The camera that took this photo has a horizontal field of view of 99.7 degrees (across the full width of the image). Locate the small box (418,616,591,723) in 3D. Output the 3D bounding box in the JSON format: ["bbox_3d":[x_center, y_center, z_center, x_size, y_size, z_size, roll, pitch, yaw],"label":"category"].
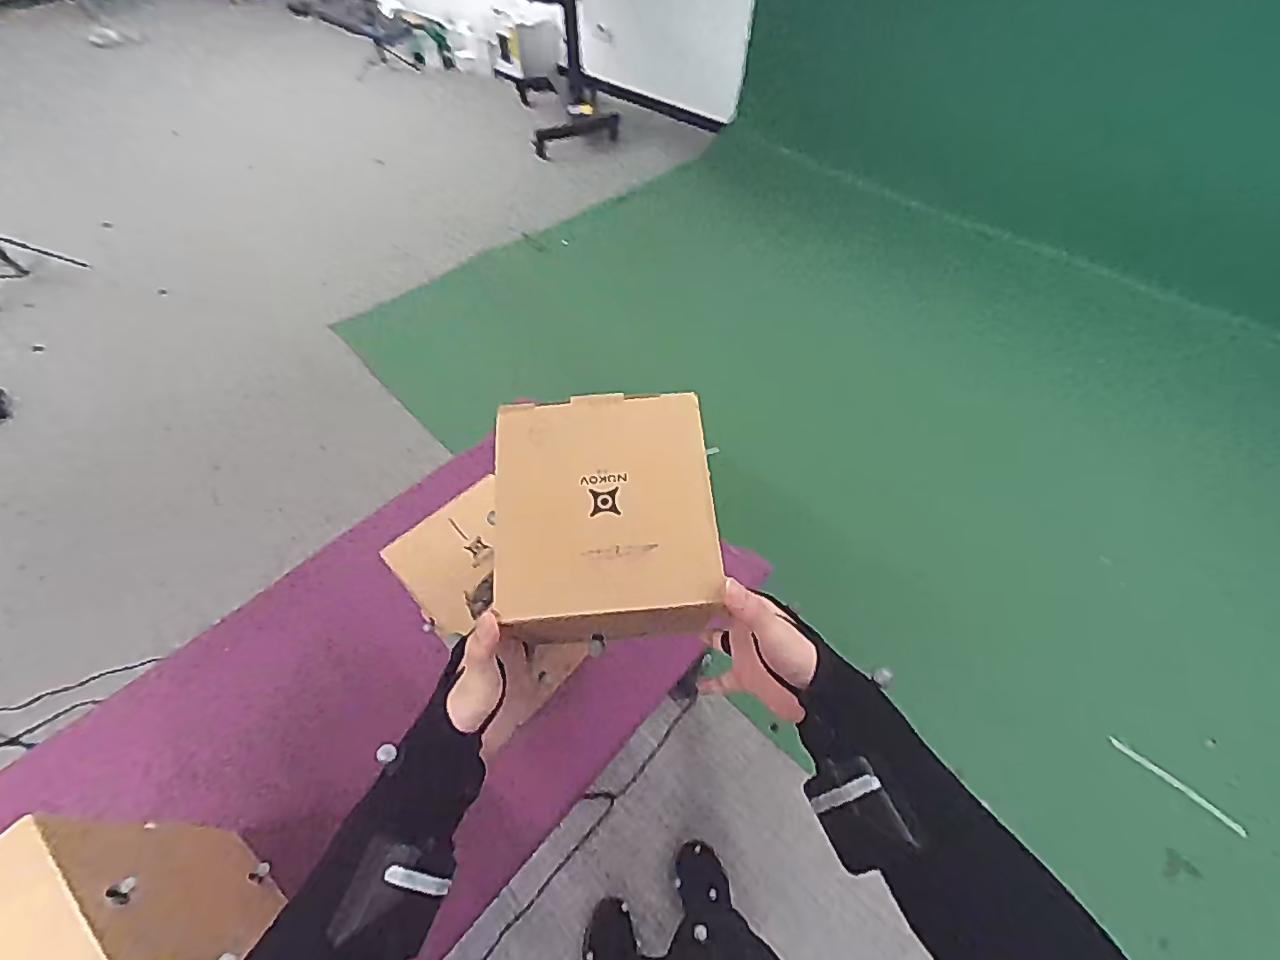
[{"bbox_3d":[-0.190,0.237,0.810,0.179,0.176,0.168,34,59,24],"label":"small box"}]

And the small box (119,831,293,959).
[{"bbox_3d":[-0.526,0.522,0.579,0.179,0.176,0.168,31,58,21],"label":"small box"}]

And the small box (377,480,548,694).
[{"bbox_3d":[-0.183,0.140,0.676,0.179,0.176,0.168,37,60,27],"label":"small box"}]

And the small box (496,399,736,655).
[{"bbox_3d":[-0.022,0.049,0.471,0.168,0.176,0.179,-3,67,-2],"label":"small box"}]
